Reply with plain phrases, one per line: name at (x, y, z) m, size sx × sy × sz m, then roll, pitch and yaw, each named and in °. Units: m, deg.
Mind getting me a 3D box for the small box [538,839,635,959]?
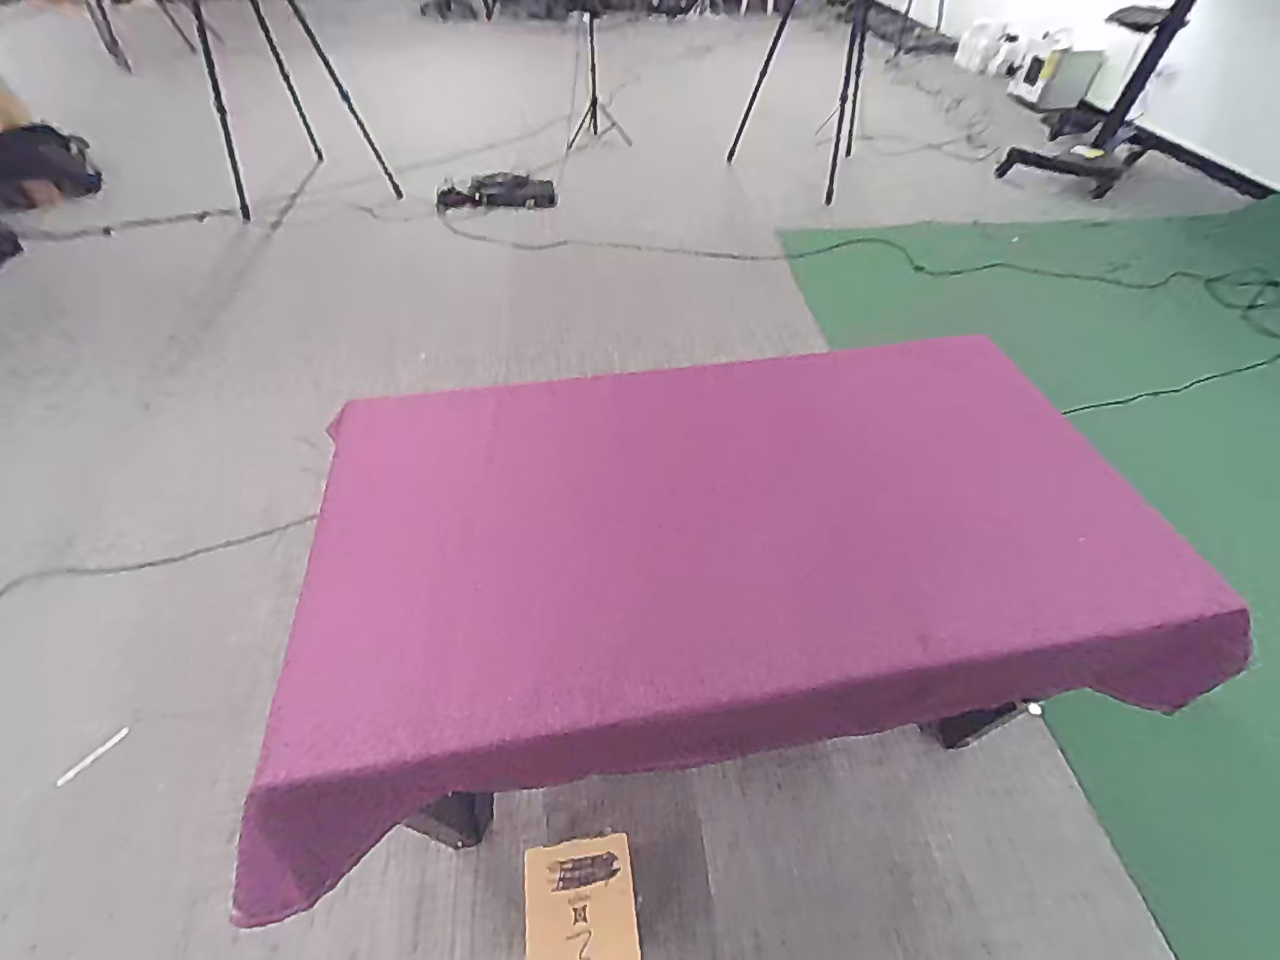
small box at (-0.099, 0.798, 1.019) m, size 0.168 × 0.176 × 0.179 m, roll -5°, pitch 50°, yaw -5°
